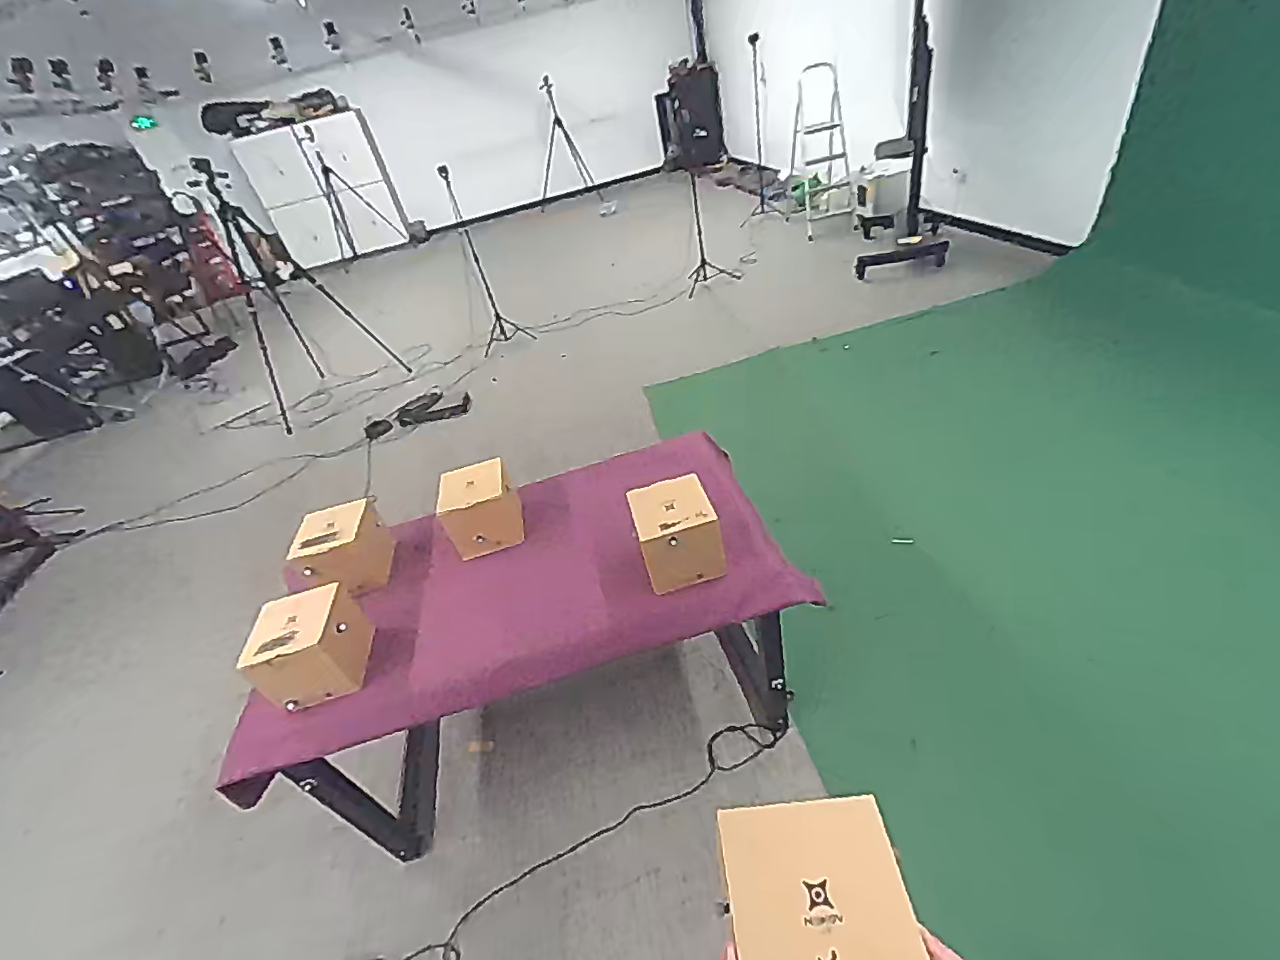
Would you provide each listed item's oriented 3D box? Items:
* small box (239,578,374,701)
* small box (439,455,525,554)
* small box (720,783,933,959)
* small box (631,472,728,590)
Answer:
[{"bbox_3d":[-0.696,0.346,1.155,0.168,0.176,0.179,-16,37,-3],"label":"small box"},{"bbox_3d":[-0.410,0.066,1.424,0.168,0.176,0.179,-16,39,-3],"label":"small box"},{"bbox_3d":[0.175,0.441,0.557,0.168,0.176,0.179,-7,43,2],"label":"small box"},{"bbox_3d":[0.086,0.113,1.197,0.168,0.176,0.179,-16,35,-1],"label":"small box"}]
